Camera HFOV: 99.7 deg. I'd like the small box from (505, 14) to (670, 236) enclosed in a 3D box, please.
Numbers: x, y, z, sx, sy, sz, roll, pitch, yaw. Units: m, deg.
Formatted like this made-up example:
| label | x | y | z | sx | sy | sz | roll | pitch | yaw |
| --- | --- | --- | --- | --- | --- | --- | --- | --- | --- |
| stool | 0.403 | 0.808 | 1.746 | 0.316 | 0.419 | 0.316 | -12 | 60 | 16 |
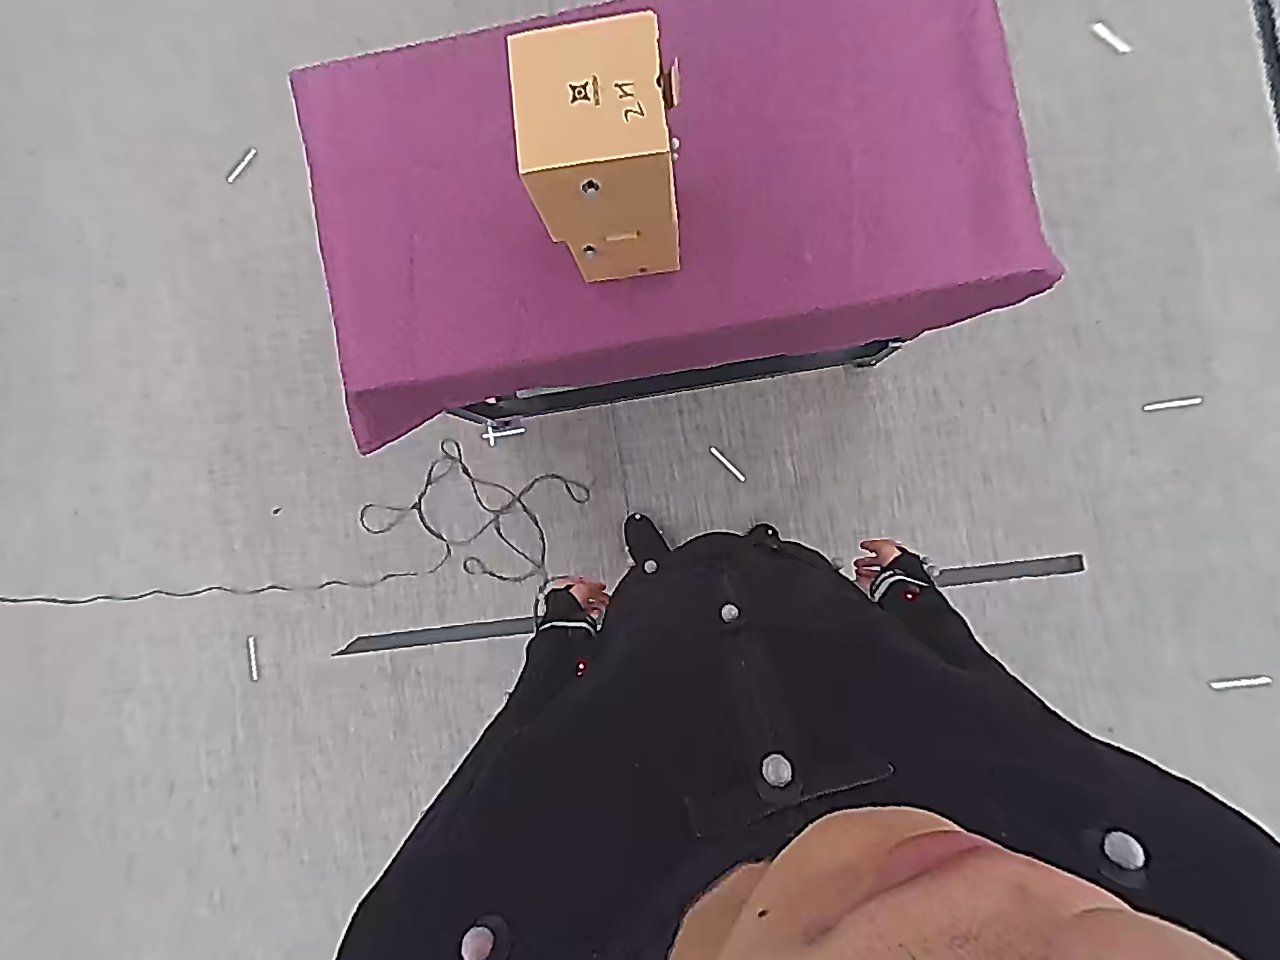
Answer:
| label | x | y | z | sx | sy | sz | roll | pitch | yaw |
| --- | --- | --- | --- | --- | --- | --- | --- | --- | --- |
| small box | -0.057 | -0.435 | 0.692 | 0.179 | 0.176 | 0.168 | -5 | 88 | 4 |
